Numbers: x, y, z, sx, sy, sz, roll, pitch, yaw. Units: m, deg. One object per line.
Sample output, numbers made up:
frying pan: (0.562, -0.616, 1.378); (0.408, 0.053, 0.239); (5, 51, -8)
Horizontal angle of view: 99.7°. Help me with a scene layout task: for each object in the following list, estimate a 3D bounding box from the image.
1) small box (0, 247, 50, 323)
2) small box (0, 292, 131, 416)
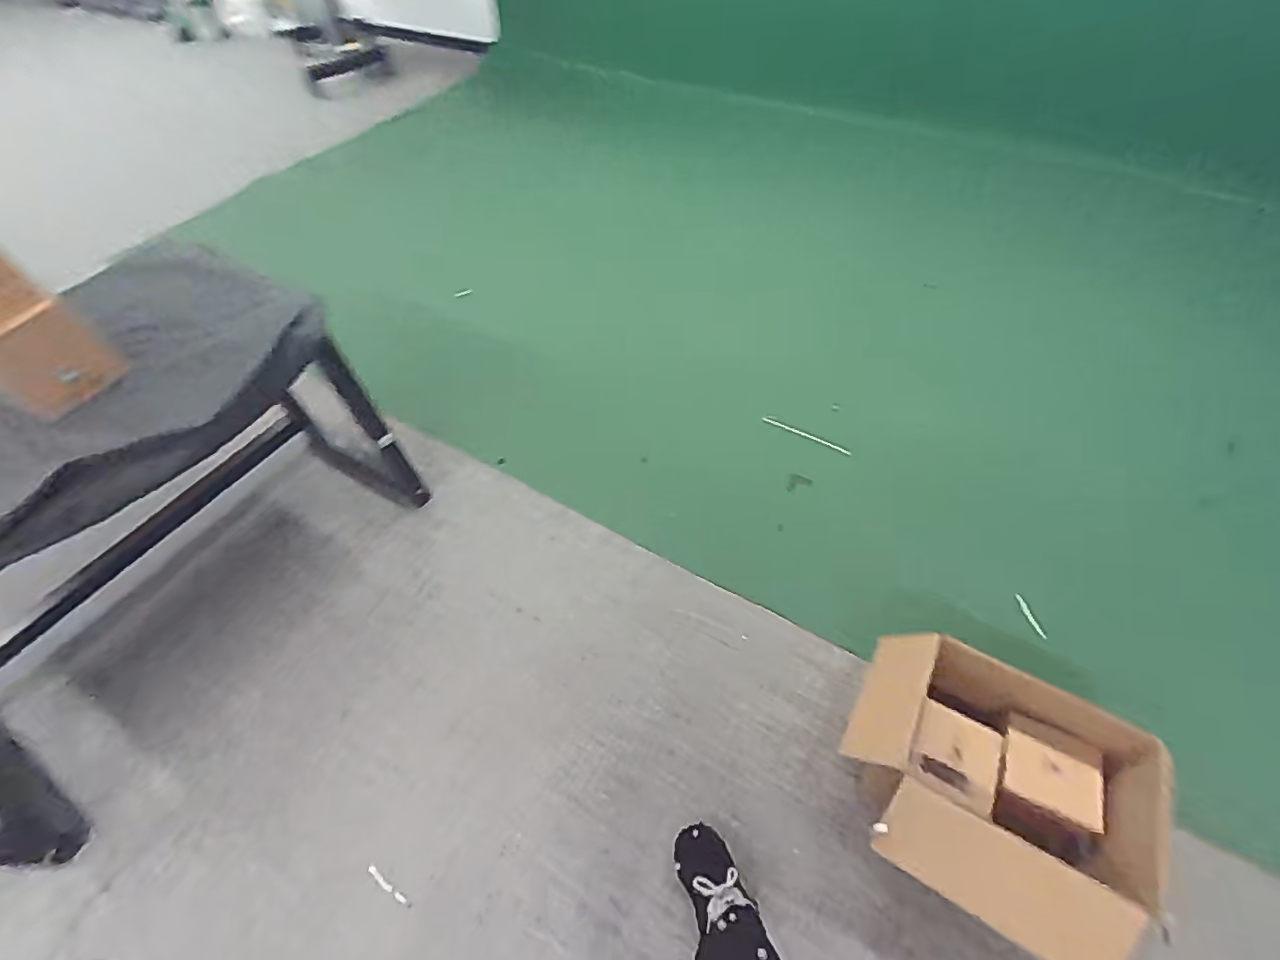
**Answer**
small box: (-1.151, -0.340, 0.875); (0.168, 0.176, 0.179); (22, 58, 18)
small box: (-1.131, -0.247, 1.008); (0.179, 0.176, 0.168); (24, 59, 18)
